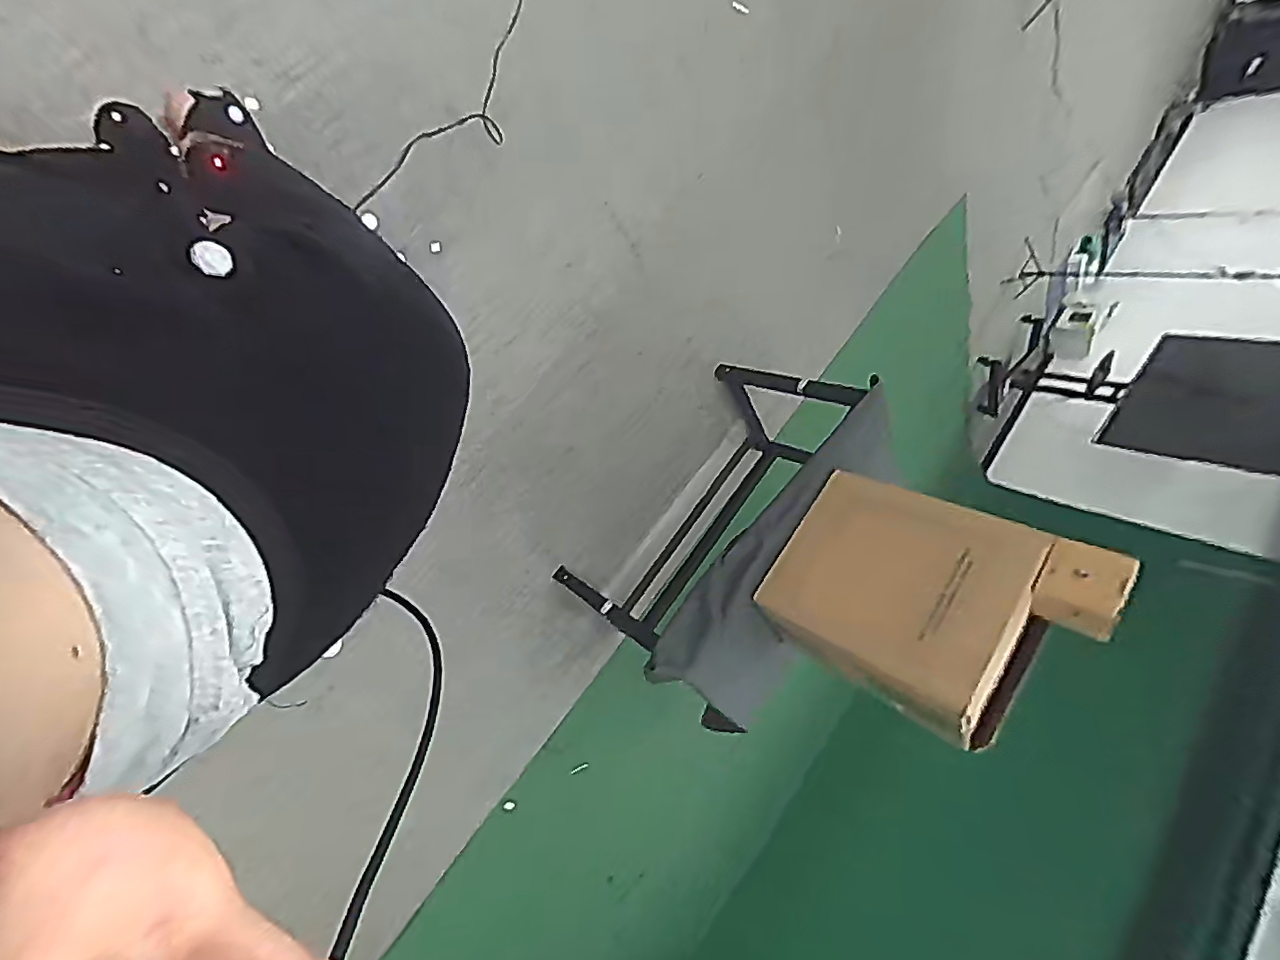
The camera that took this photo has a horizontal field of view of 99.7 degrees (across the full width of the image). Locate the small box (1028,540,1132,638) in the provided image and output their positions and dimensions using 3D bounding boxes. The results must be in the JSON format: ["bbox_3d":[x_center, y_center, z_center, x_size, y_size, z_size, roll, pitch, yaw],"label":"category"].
[{"bbox_3d":[1.128,0.274,1.396,0.168,0.176,0.179,-55,135,-13],"label":"small box"}]
